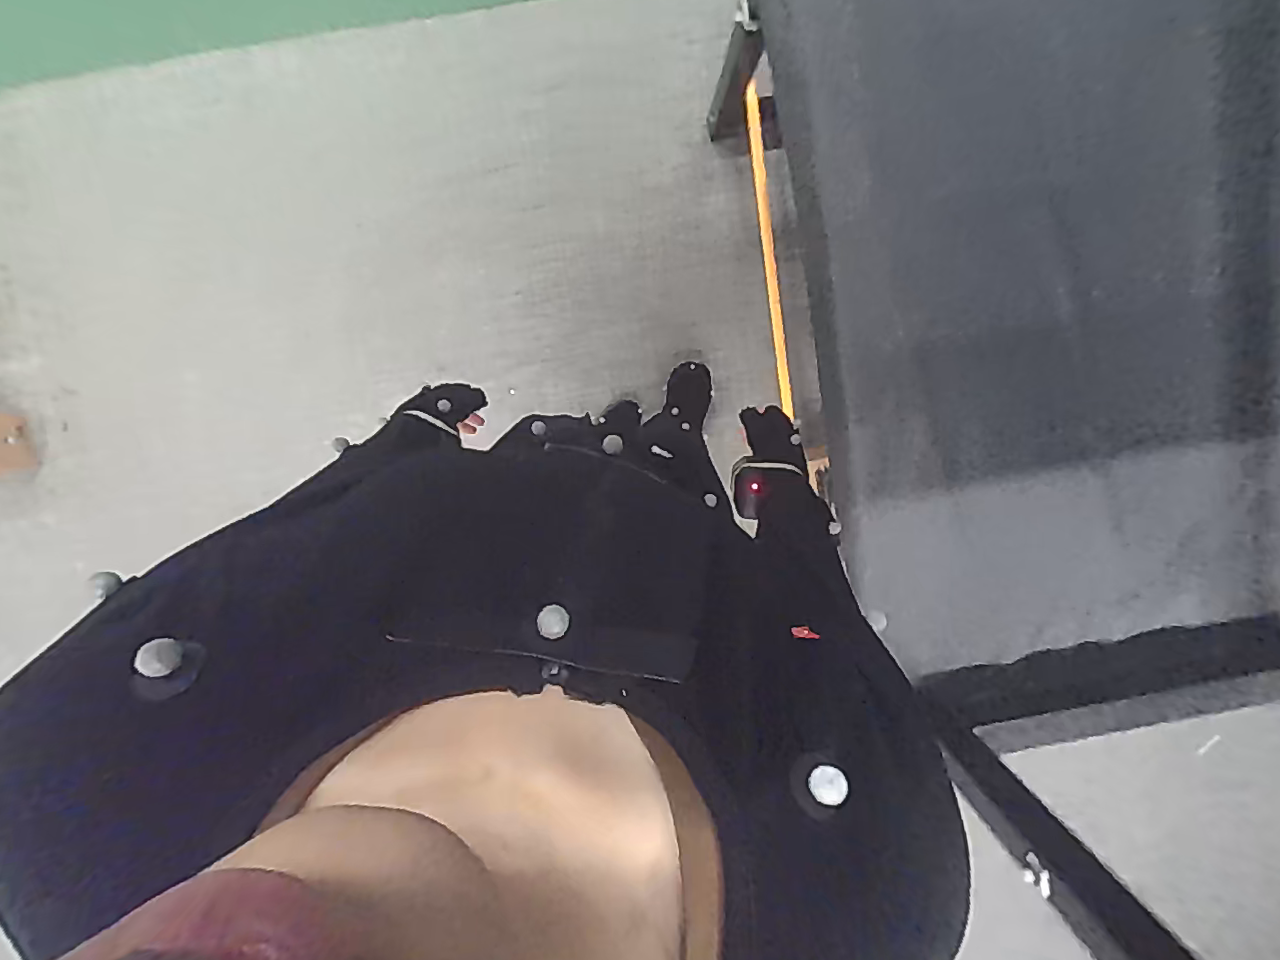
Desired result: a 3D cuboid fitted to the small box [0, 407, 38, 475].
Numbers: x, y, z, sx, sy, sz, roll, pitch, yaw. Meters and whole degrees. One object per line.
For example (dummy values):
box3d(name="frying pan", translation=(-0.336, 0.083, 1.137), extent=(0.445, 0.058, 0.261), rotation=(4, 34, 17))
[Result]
box3d(name="small box", translation=(-1.683, -0.082, 1.336), extent=(0.179, 0.176, 0.168), rotation=(-11, 101, -1))
